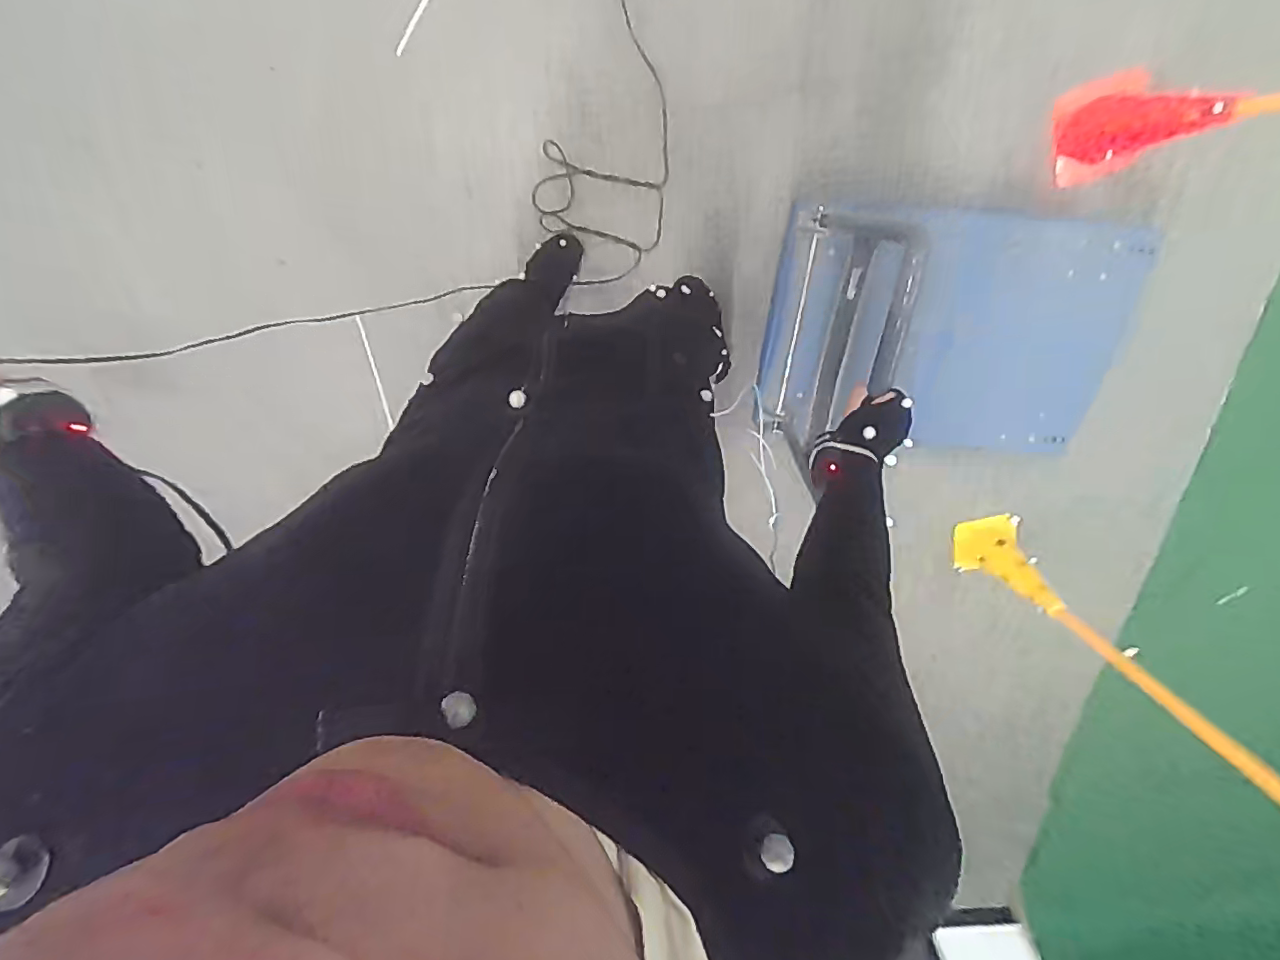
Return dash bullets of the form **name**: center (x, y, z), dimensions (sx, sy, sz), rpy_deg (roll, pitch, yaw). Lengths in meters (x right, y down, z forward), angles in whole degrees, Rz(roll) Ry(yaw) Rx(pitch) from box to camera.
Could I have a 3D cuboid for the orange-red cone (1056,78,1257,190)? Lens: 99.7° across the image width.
- **orange-red cone**: center (1.106, -0.753, 1.147), dimensions (0.198, 0.360, 0.199), rpy_deg (-16, 114, 7)
